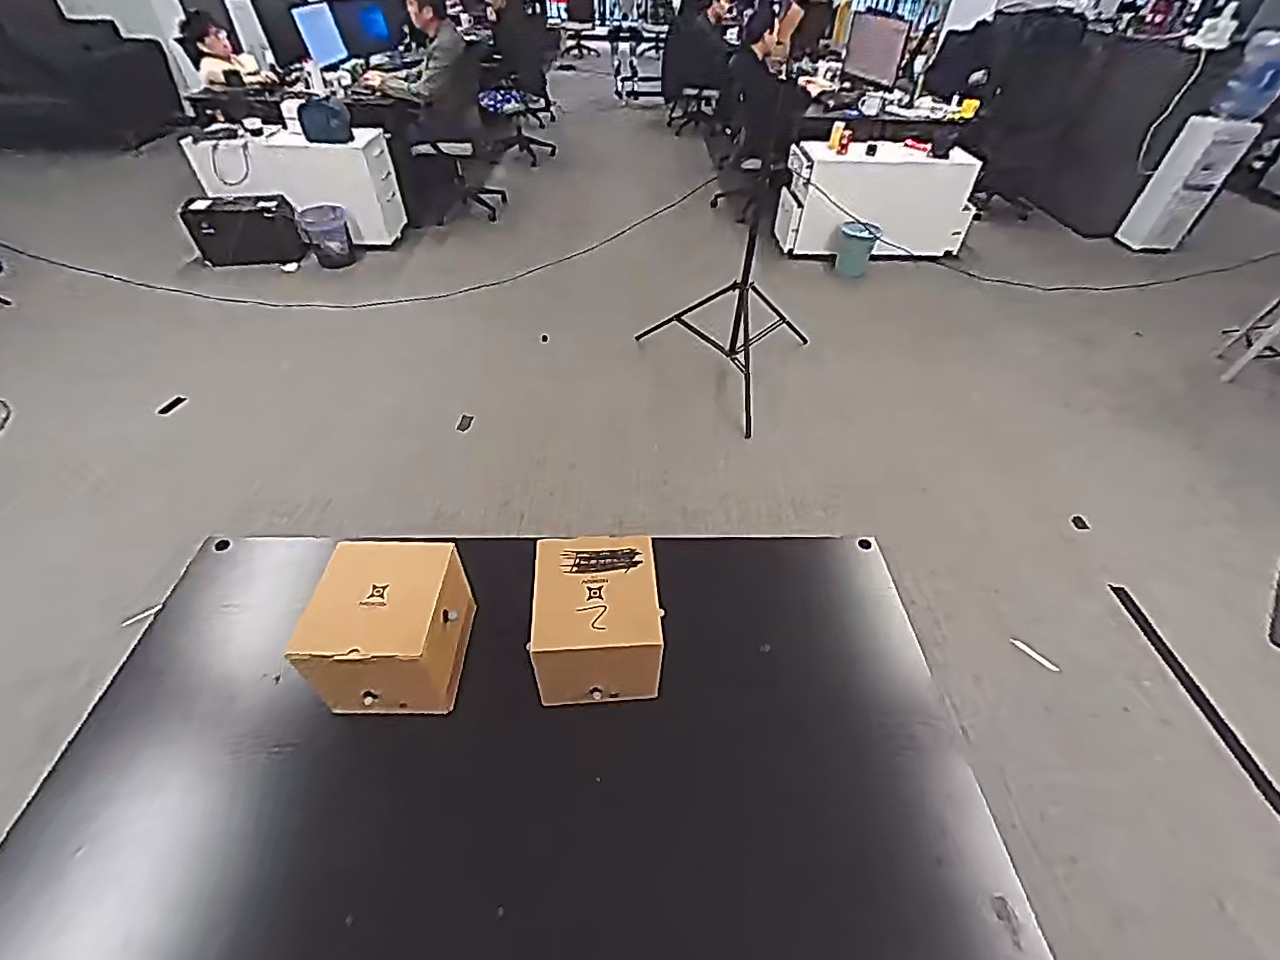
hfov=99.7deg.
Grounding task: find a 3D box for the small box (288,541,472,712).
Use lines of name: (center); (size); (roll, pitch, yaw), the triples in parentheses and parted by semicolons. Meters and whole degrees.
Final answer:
small box: (-0.347, 0.207, 0.767); (0.168, 0.176, 0.179); (1, 46, -1)
